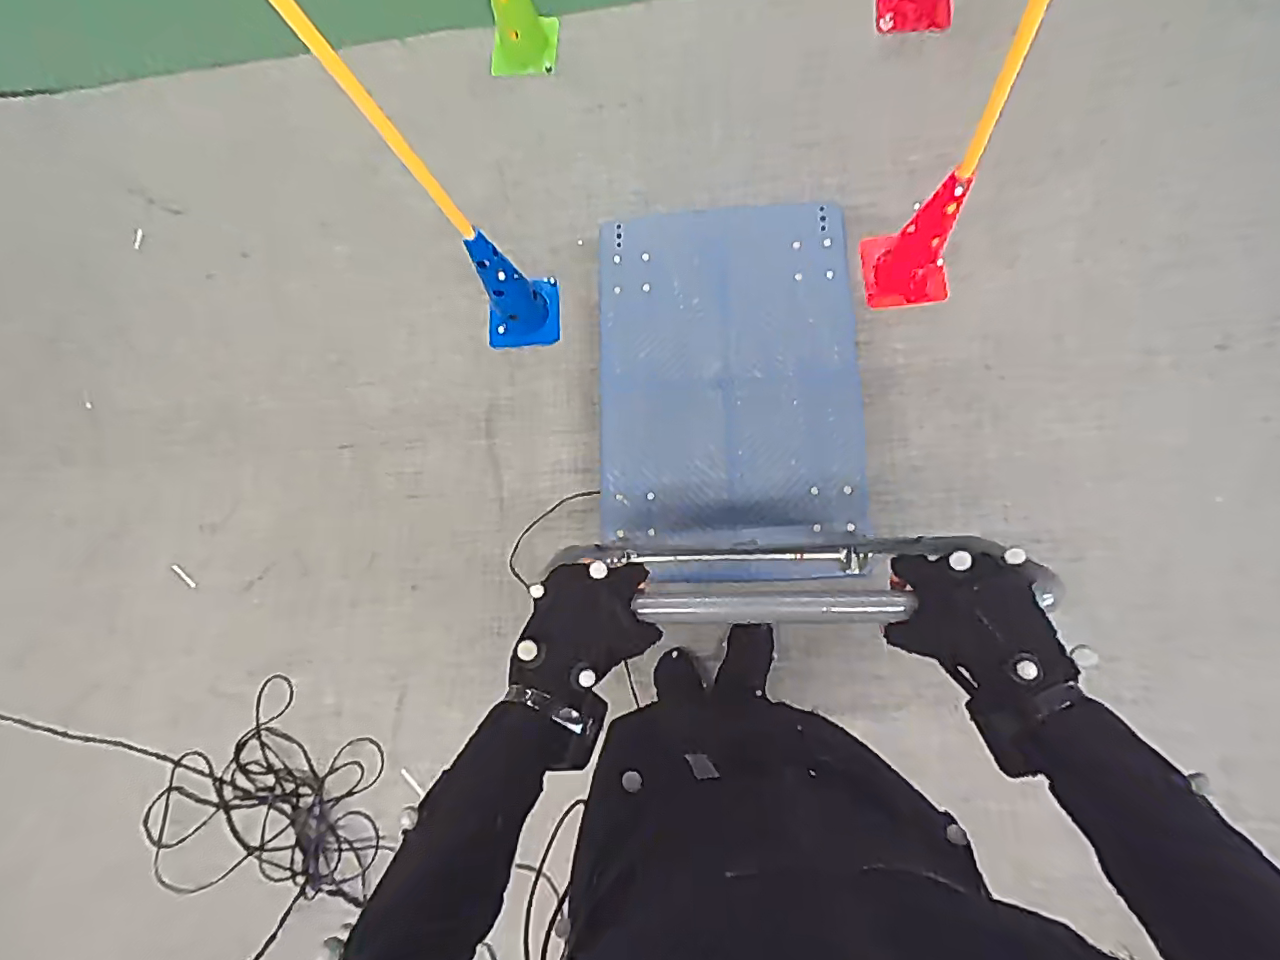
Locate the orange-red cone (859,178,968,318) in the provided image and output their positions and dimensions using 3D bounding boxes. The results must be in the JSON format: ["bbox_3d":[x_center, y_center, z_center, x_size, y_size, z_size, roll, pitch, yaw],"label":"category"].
[{"bbox_3d":[0.658,-0.553,1.247,0.199,0.360,0.198,-4,78,8],"label":"orange-red cone"}]

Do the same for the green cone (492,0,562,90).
[{"bbox_3d":[-0.367,-1.340,1.514,0.202,0.368,0.200,1,79,8],"label":"green cone"}]
